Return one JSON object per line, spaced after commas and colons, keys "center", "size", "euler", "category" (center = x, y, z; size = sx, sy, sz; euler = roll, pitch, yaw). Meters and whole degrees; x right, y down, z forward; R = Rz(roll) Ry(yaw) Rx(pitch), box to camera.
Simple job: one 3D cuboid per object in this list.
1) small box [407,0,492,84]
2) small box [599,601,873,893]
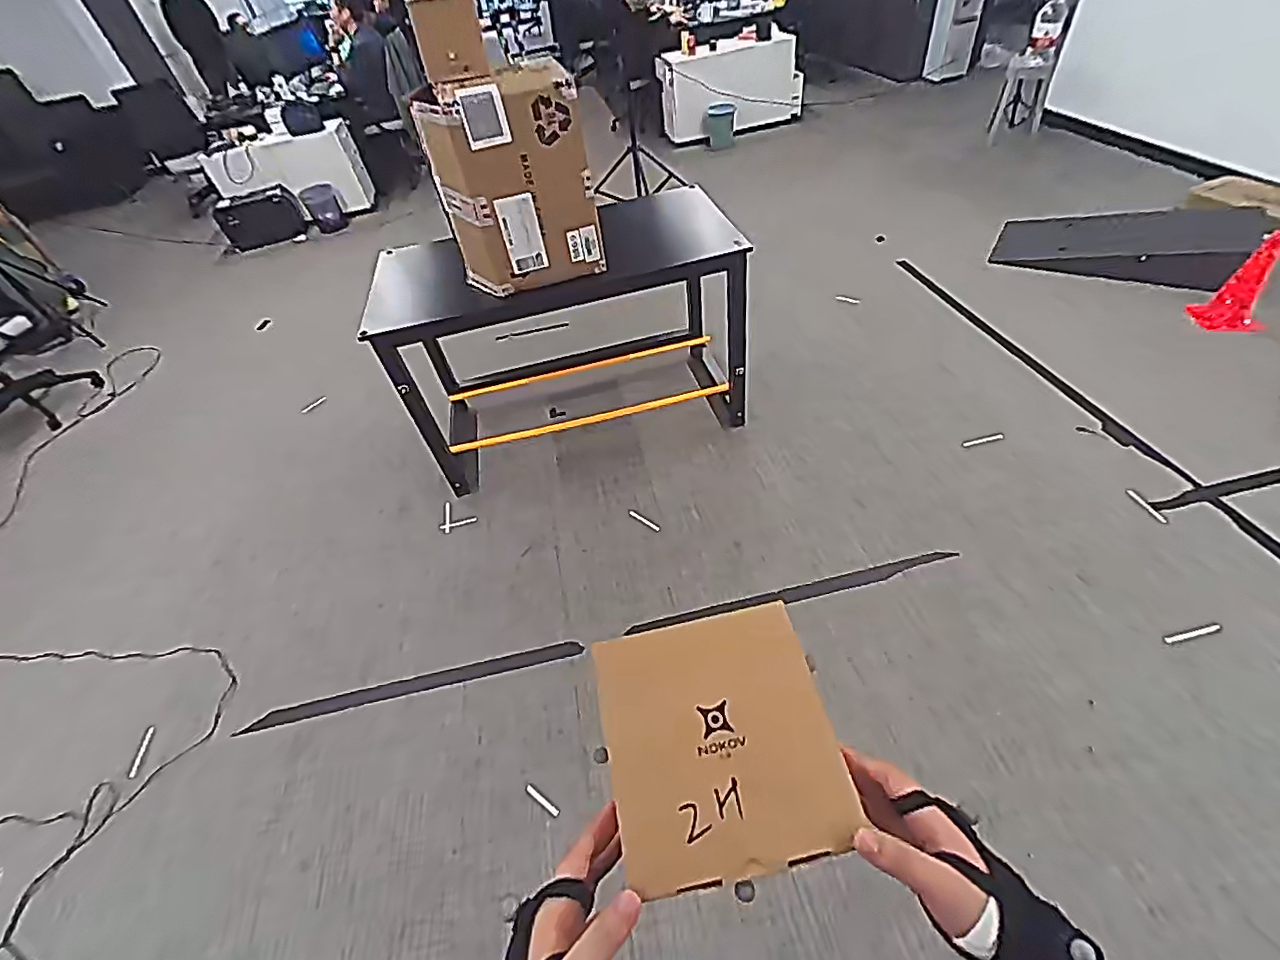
{"center": [-0.500, -1.165, 1.428], "size": [0.168, 0.176, 0.179], "euler": [-16, 45, -9], "category": "small box"}
{"center": [0.065, 0.232, 0.465], "size": [0.168, 0.176, 0.179], "euler": [-12, 53, -3], "category": "small box"}
